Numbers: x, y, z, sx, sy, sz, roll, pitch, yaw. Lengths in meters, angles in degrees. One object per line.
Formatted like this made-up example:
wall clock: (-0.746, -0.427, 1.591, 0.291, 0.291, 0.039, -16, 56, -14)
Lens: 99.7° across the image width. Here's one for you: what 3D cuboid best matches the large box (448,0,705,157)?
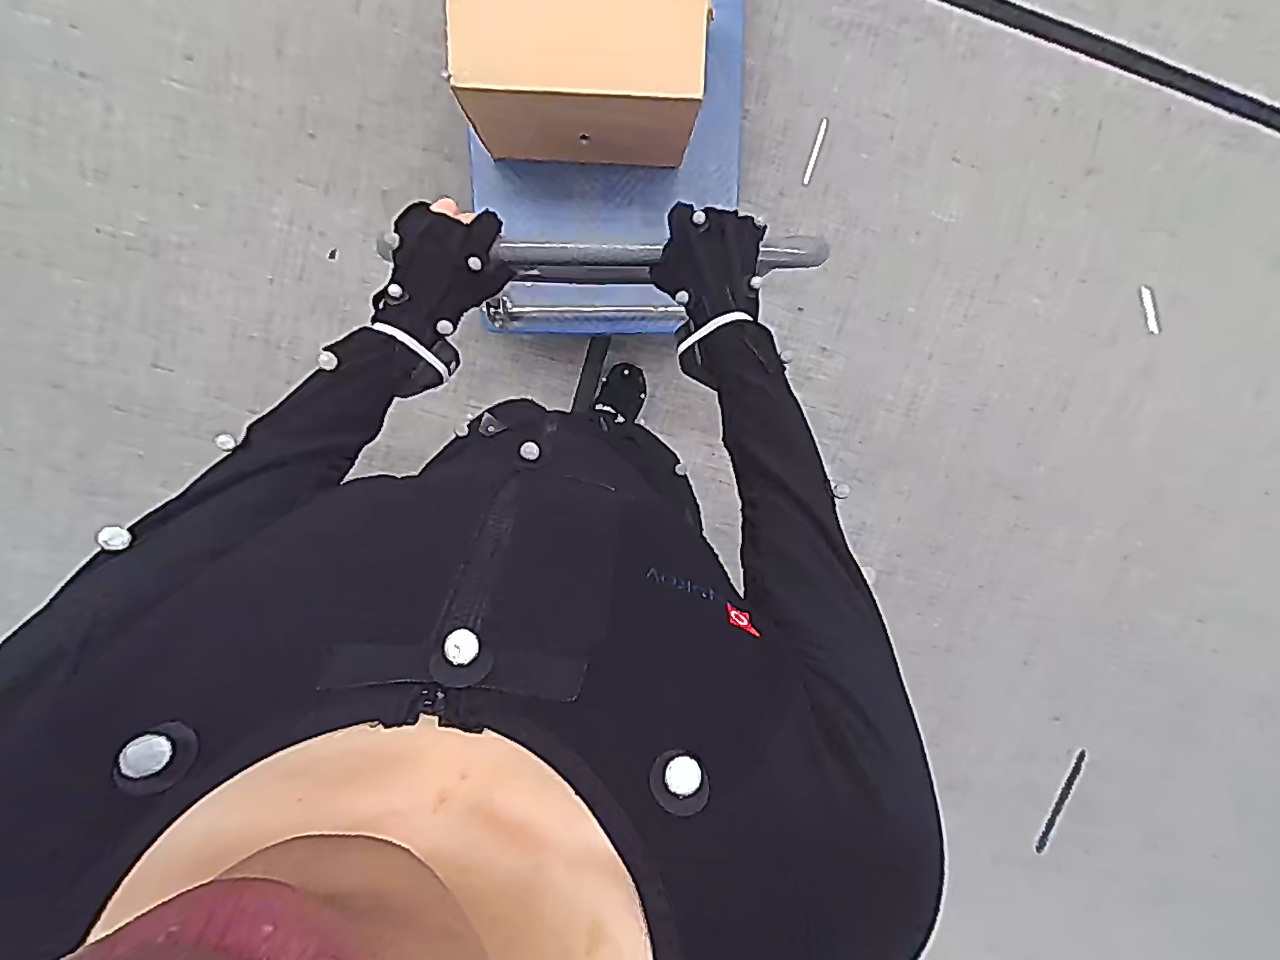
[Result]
large box: (-0.100, -0.805, 0.972, 0.408, 0.320, 0.320, 1, 102, -2)
